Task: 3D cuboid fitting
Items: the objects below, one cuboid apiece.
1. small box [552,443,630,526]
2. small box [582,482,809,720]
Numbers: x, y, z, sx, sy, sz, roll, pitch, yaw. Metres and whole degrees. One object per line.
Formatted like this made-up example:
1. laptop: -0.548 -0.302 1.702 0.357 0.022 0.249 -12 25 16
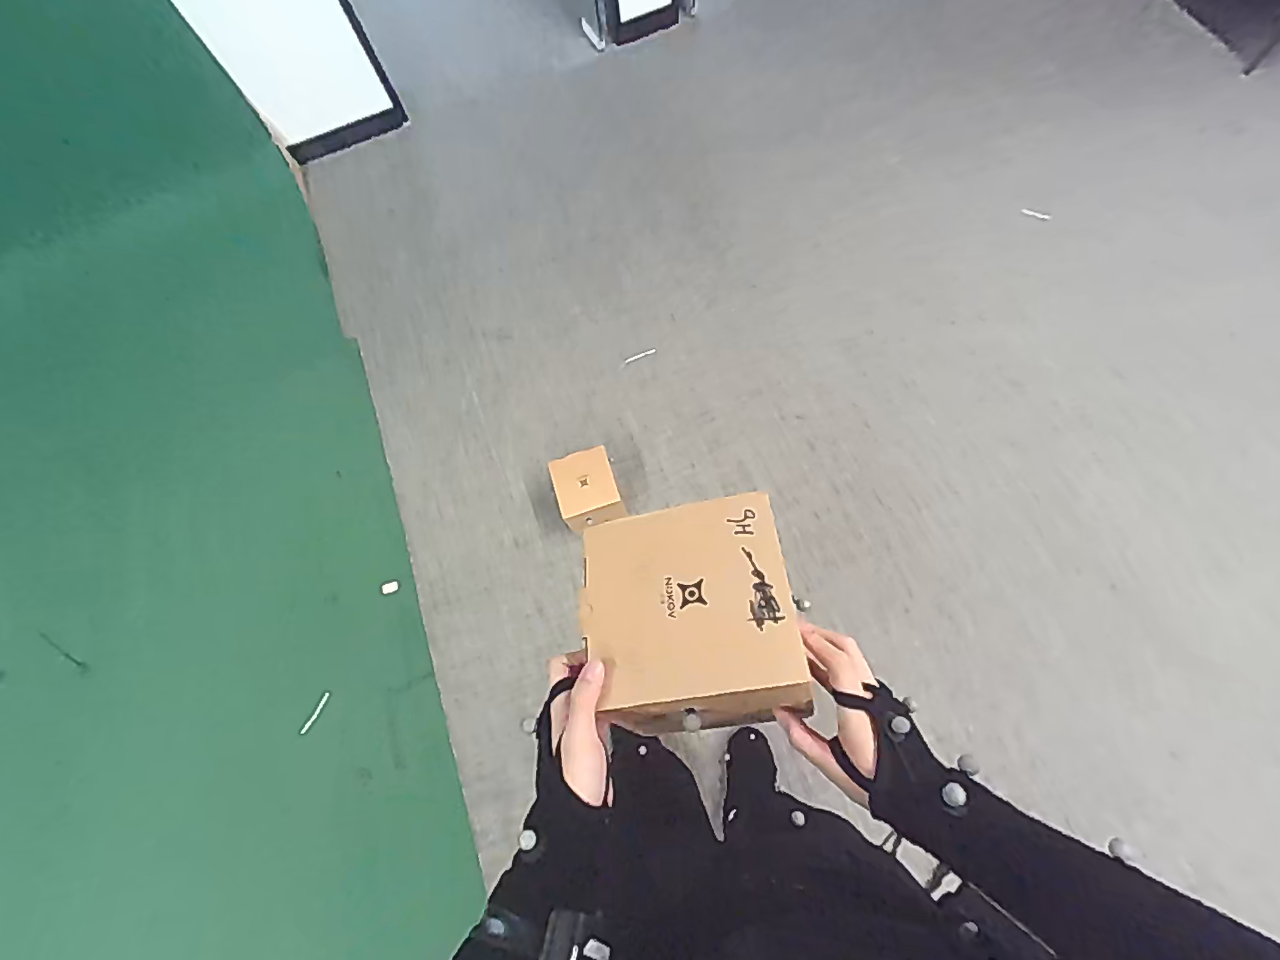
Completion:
1. small box: -0.135 0.022 1.548 0.168 0.176 0.179 -18 69 -1
2. small box: 0.056 0.127 0.524 0.179 0.176 0.168 -13 57 13
